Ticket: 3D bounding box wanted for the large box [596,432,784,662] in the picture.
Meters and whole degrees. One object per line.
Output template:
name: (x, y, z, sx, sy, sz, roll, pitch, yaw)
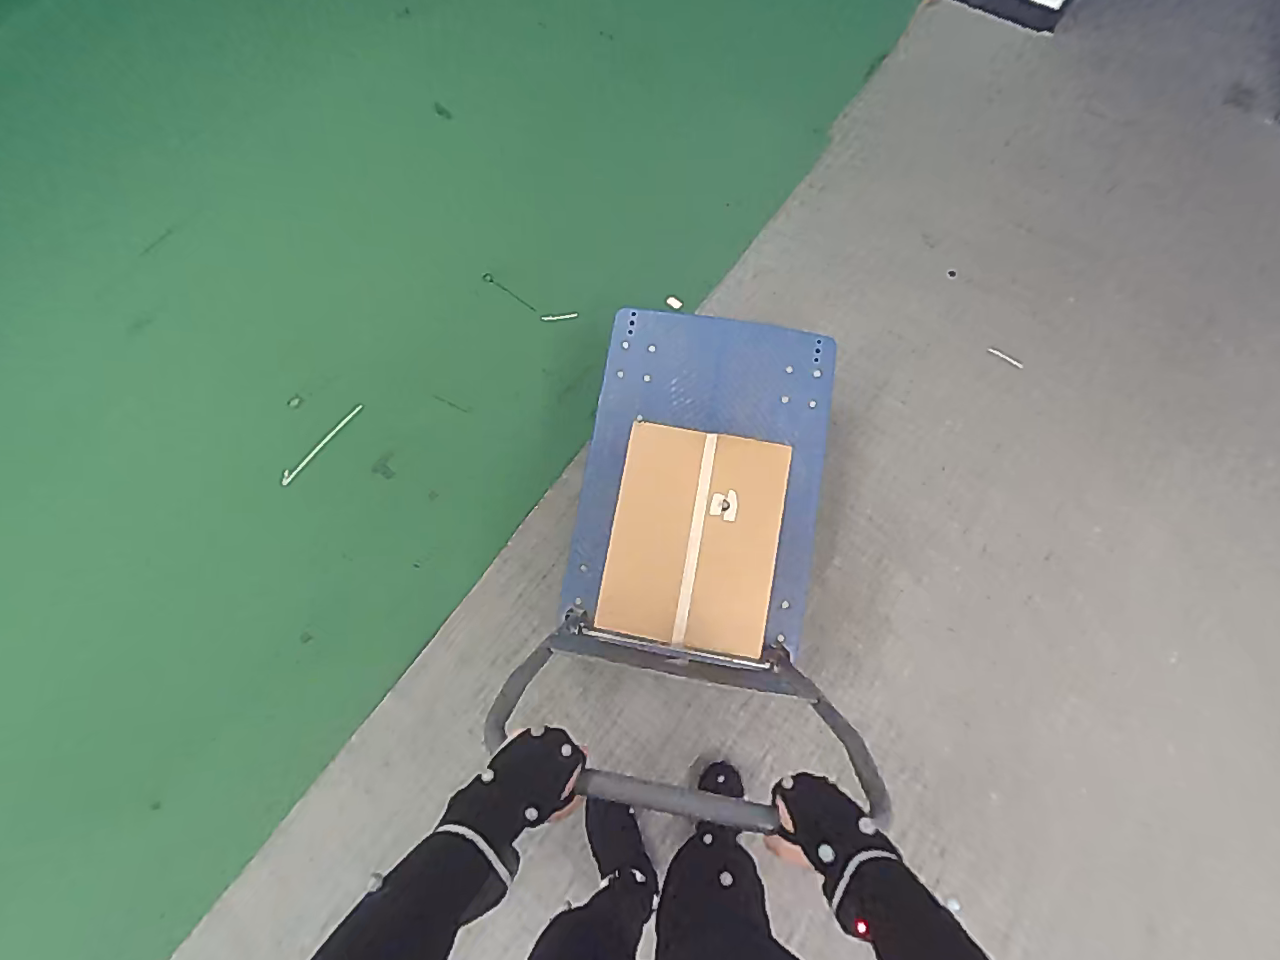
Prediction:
large box: (0.108, 0.146, 1.185, 0.320, 0.320, 0.408, 11, 82, 4)
